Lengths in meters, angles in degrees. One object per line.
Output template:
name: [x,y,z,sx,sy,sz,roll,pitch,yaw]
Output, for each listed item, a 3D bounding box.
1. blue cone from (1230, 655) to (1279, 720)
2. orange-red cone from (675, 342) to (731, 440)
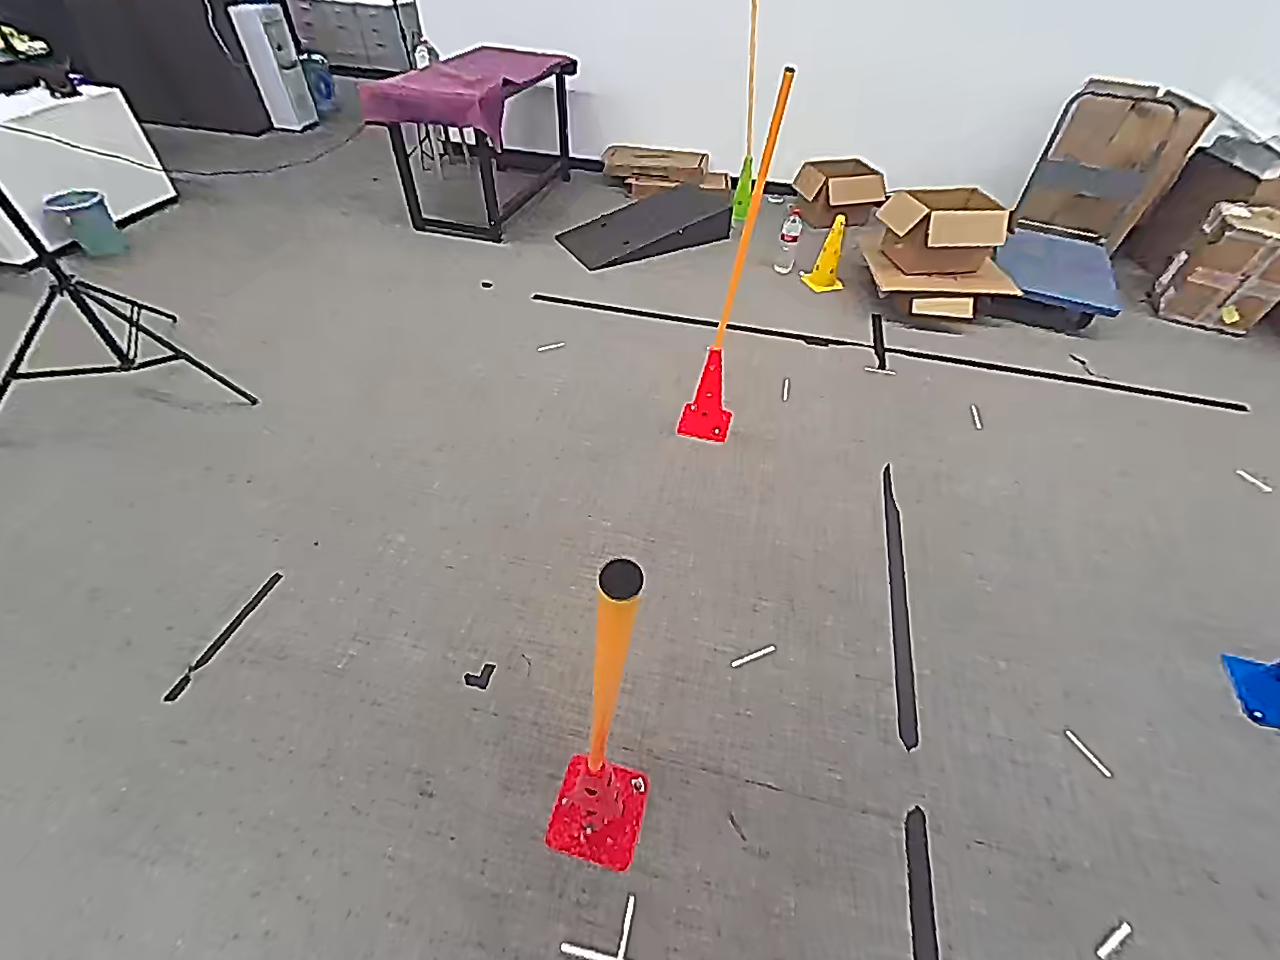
blue cone: [1.763,0.475,1.369,0.193,0.380,0.192,14,48,11]
orange-red cone: [0.262,-0.360,2.048,0.198,0.360,0.199,14,47,10]
